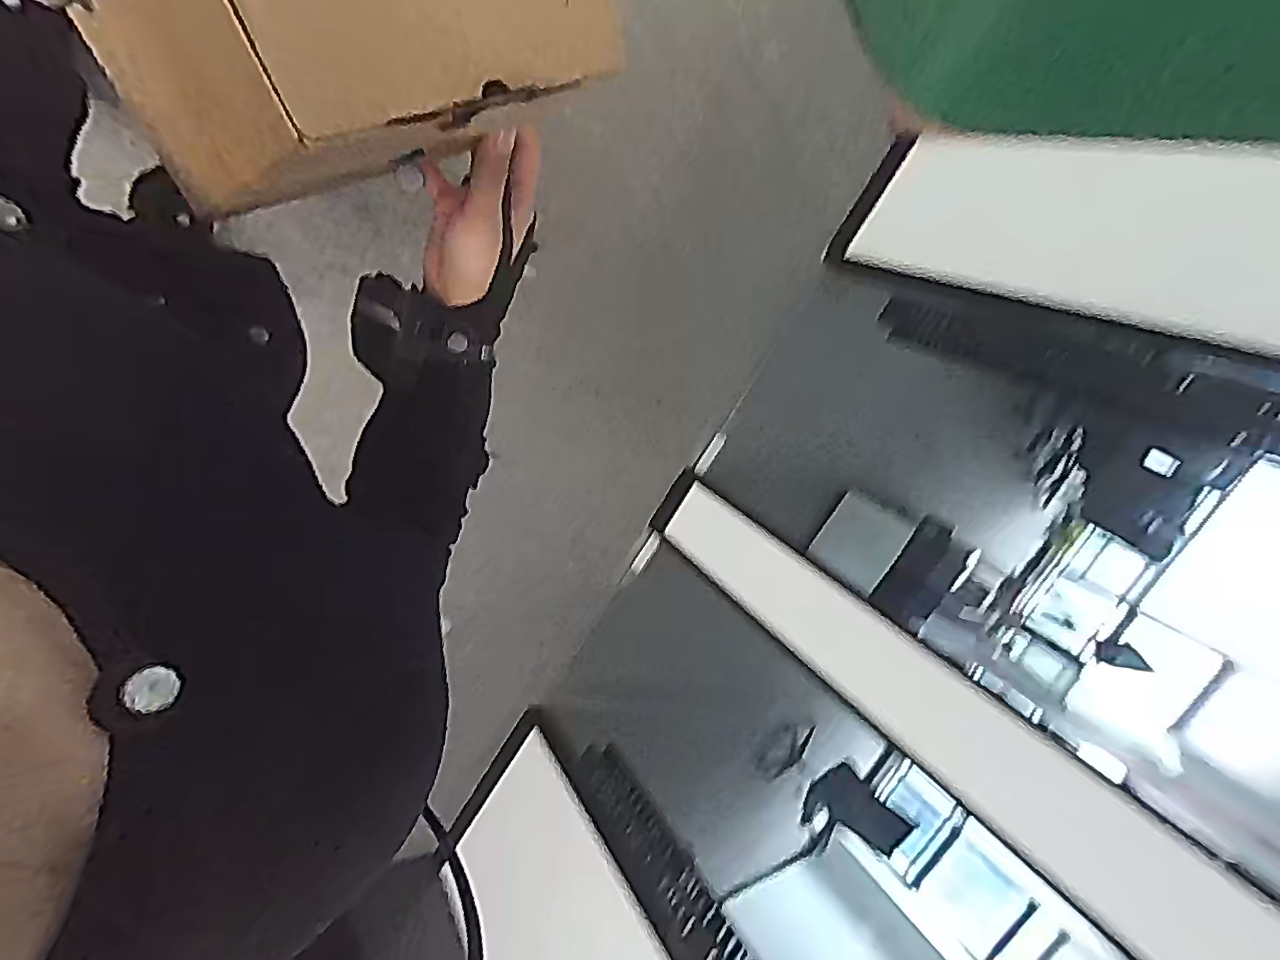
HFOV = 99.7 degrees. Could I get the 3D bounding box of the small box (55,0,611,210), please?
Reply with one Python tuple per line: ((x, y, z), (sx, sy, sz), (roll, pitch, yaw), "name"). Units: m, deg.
((-0.145, -0.233, 0.237), (0.168, 0.176, 0.179), (-41, 127, -35), "small box")
